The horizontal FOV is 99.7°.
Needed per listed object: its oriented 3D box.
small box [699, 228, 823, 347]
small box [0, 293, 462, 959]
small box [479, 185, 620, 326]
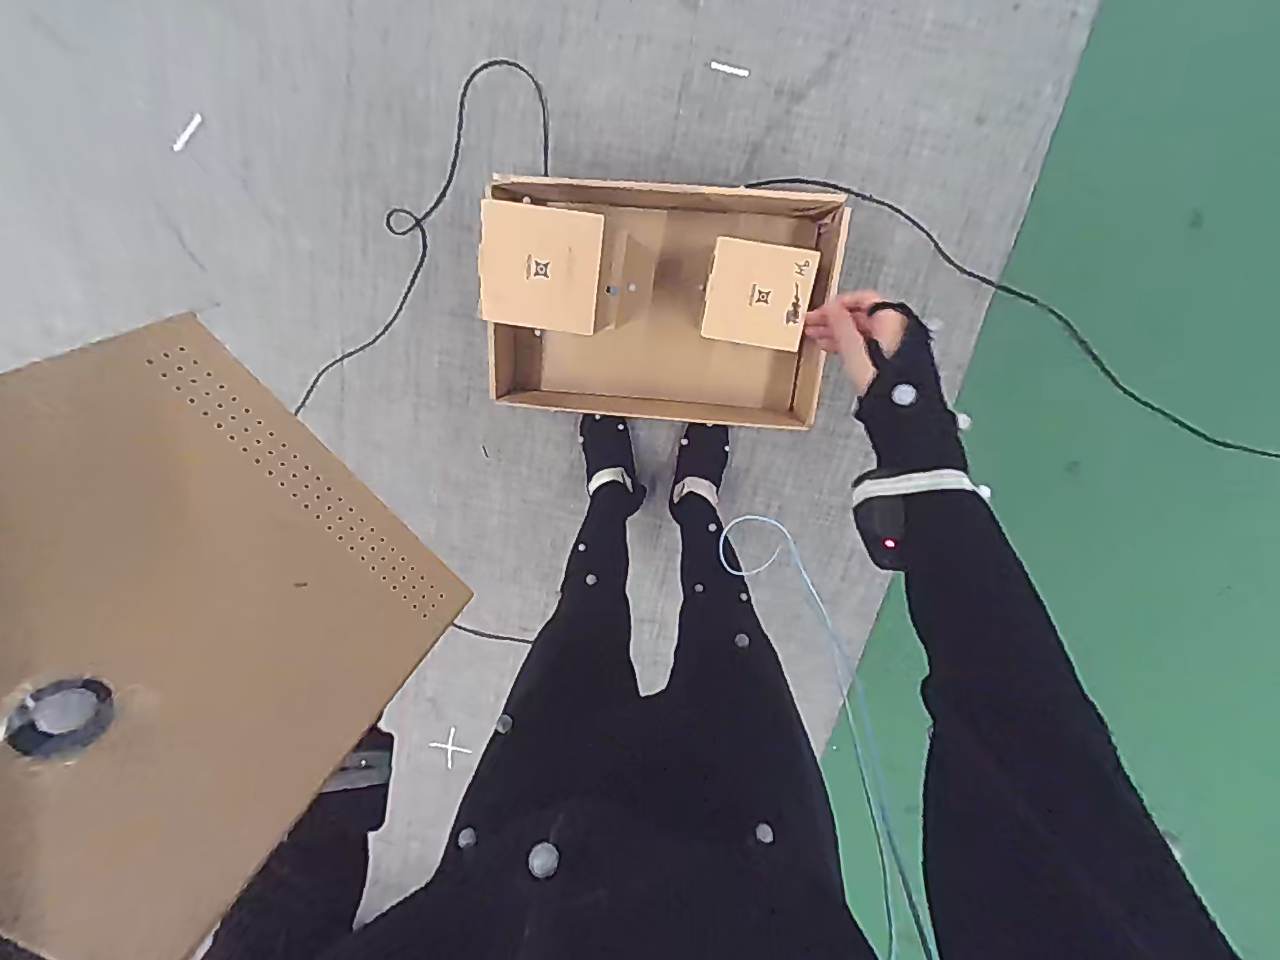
[{"bbox_3d":[0.208,-0.347,0.987,0.179,0.176,0.168,11,109,1],"label":"small box"},{"bbox_3d":[-0.215,0.053,0.230,0.168,0.176,0.179,-25,111,35],"label":"small box"},{"bbox_3d":[-0.134,-0.341,0.841,0.179,0.176,0.168,10,111,0],"label":"small box"}]
